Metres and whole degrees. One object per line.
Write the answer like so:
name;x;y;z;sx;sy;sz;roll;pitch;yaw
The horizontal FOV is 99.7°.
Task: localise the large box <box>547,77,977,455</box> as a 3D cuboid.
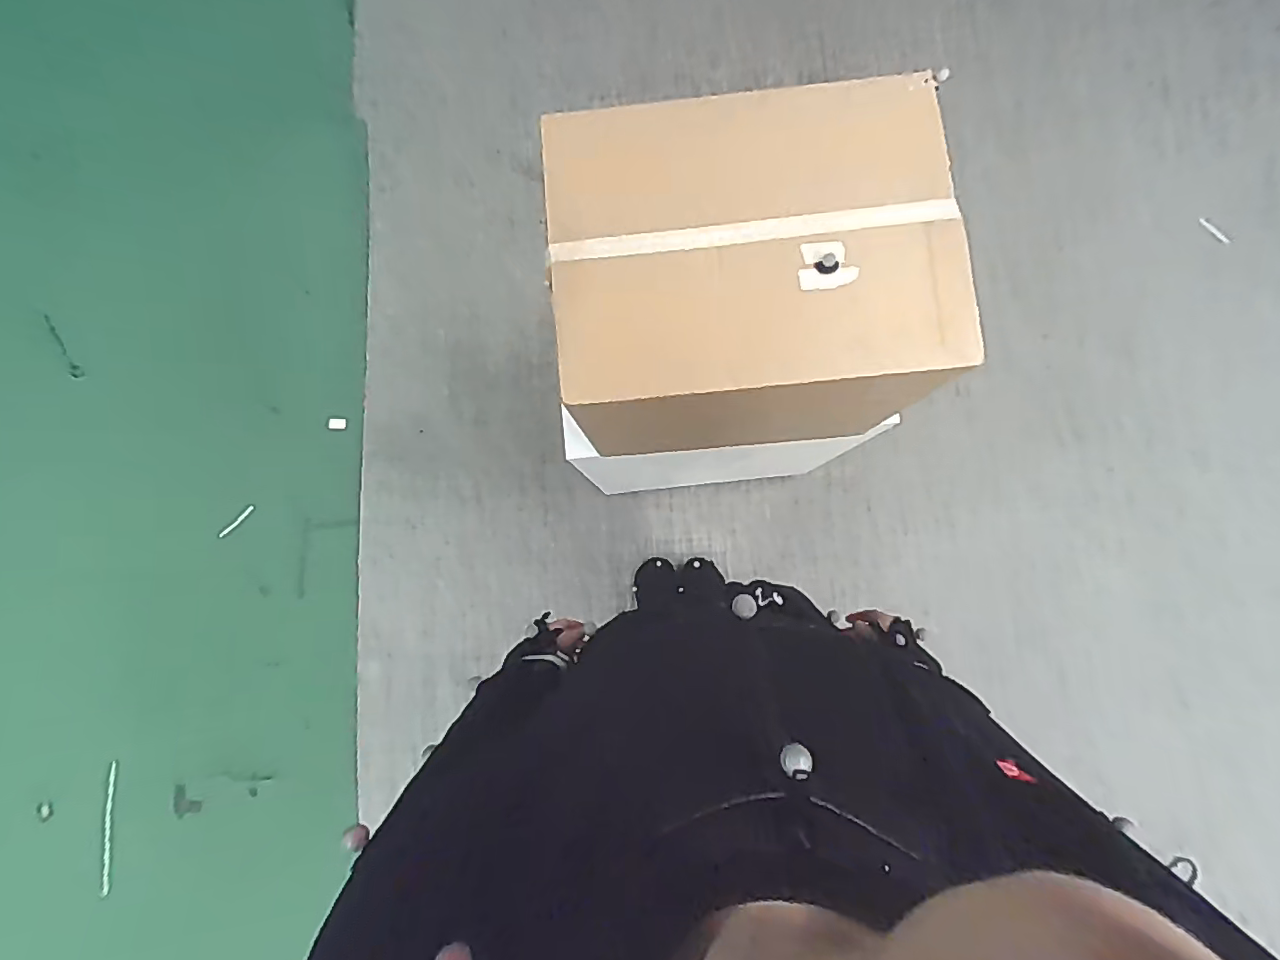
large box;0.117;-0.228;0.691;0.408;0.320;0.320;-6;83;1
